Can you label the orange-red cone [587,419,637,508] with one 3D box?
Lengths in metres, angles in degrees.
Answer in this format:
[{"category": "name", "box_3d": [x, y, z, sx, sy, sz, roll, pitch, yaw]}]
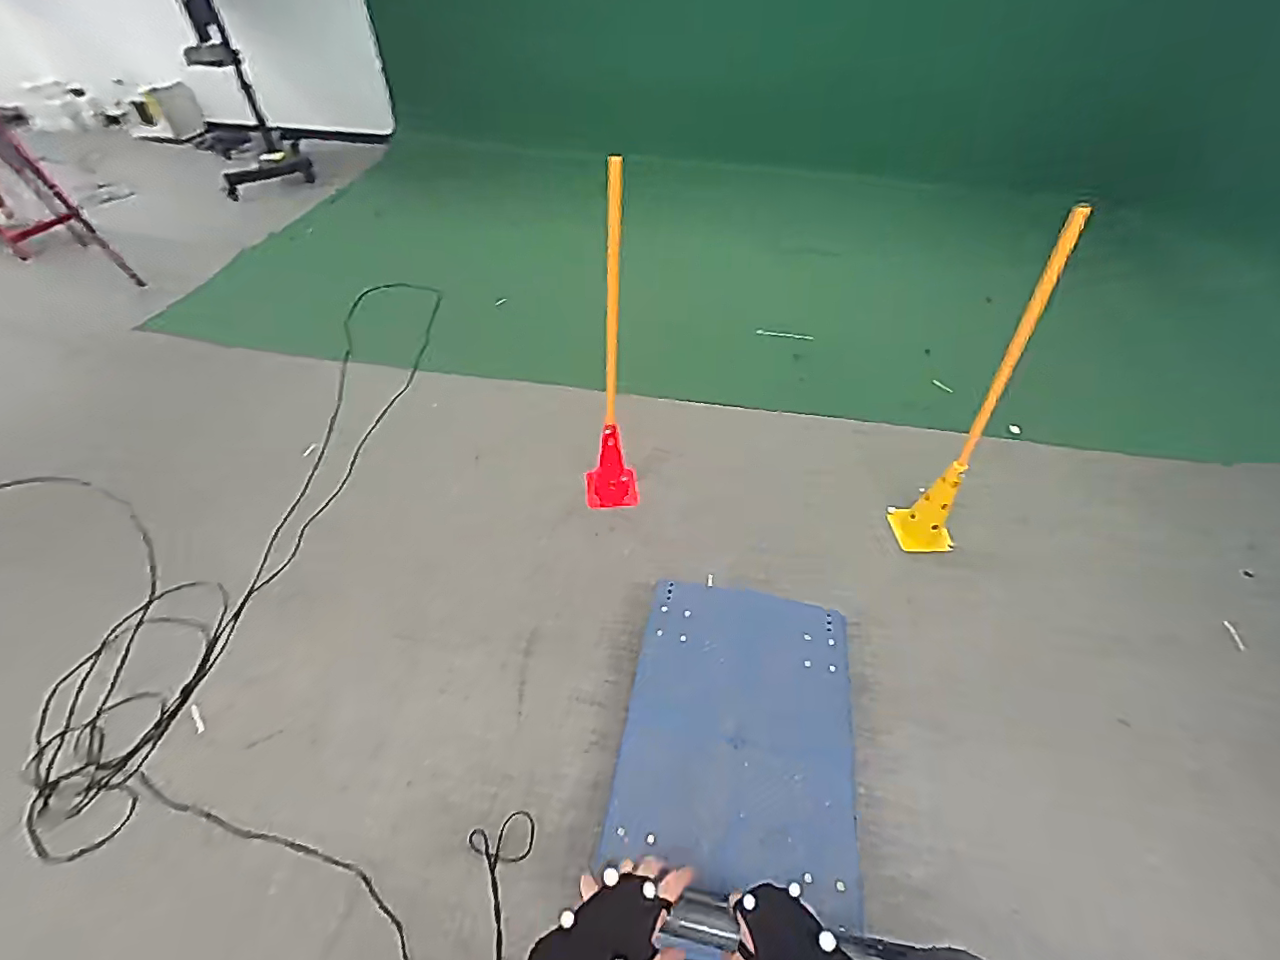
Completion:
[{"category": "orange-red cone", "box_3d": [-0.113, -0.084, 2.027, 0.199, 0.360, 0.198, -4, 47, -4]}]
